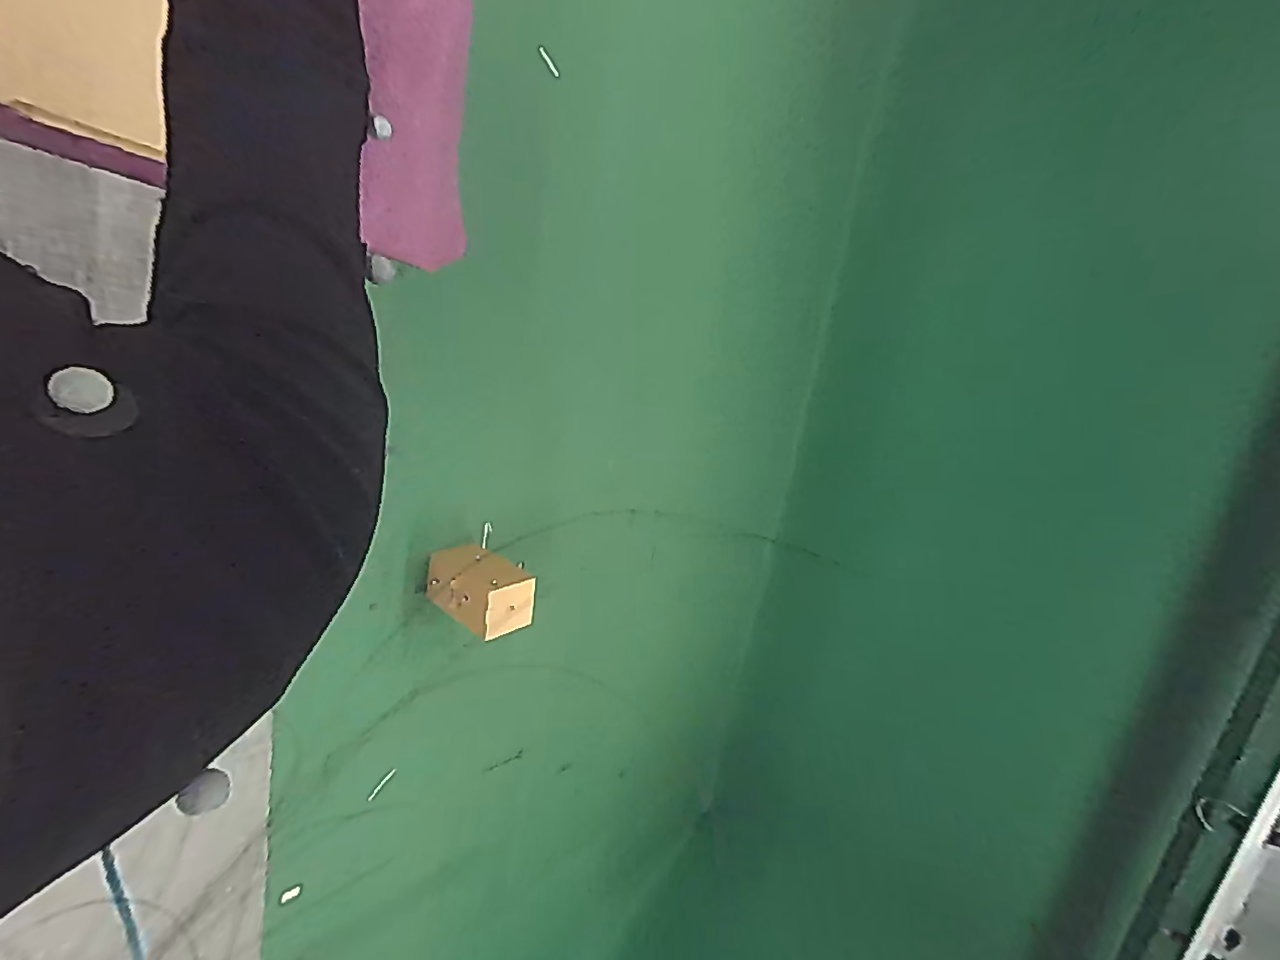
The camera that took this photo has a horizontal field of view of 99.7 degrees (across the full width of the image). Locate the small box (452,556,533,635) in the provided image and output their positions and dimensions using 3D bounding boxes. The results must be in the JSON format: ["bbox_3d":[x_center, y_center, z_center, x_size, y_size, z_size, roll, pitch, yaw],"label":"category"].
[{"bbox_3d":[-0.465,0.355,1.702,0.179,0.176,0.168,-9,114,-49],"label":"small box"}]

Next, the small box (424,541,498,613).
[{"bbox_3d":[-0.590,0.313,1.798,0.179,0.176,0.168,-7,111,-50],"label":"small box"}]
